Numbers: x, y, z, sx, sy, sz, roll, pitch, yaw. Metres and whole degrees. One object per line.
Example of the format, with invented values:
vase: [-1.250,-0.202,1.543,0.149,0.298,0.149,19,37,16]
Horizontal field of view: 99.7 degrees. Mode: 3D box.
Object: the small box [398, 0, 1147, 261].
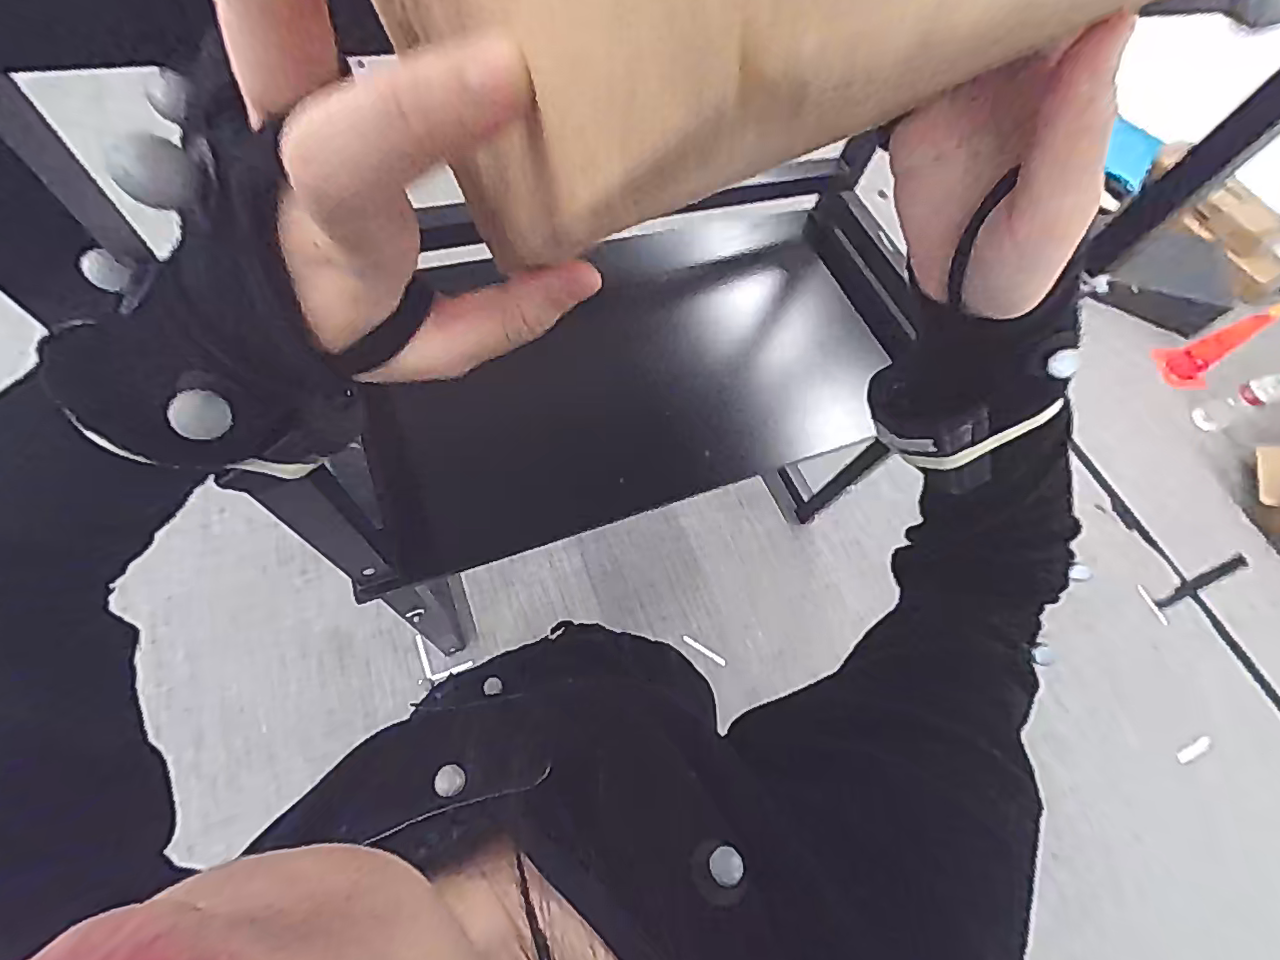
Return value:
small box: [0.026,-0.159,0.106,0.179,0.176,0.168,-28,113,-12]
